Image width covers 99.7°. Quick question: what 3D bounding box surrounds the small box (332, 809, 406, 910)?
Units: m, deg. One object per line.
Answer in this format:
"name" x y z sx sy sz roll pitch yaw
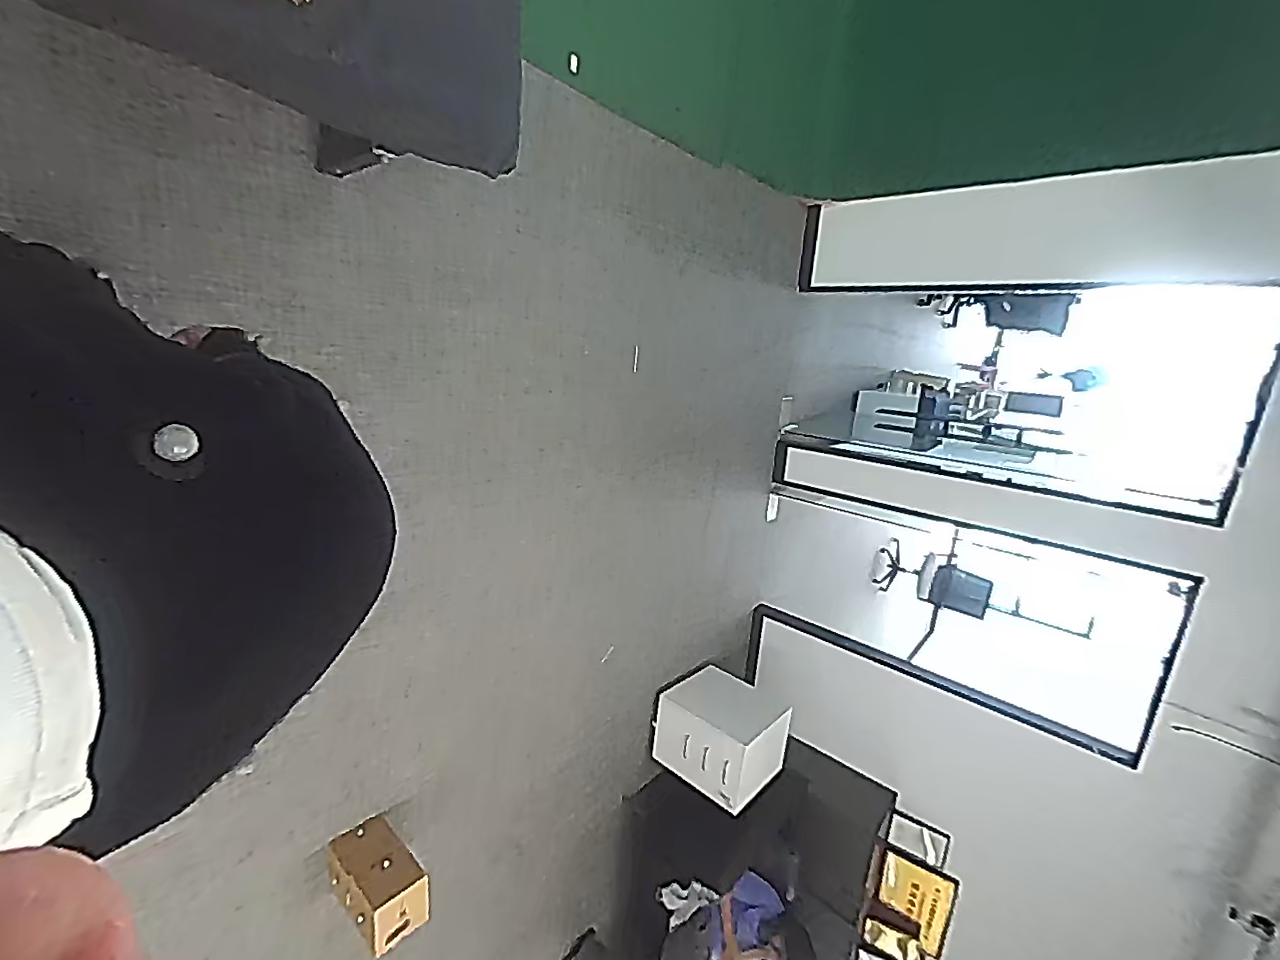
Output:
"small box" -0.895 1.238 1.778 0.179 0.176 0.168 -10 110 -49

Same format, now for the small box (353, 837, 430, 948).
"small box" -0.770 1.267 1.674 0.168 0.176 0.179 -12 111 -49
